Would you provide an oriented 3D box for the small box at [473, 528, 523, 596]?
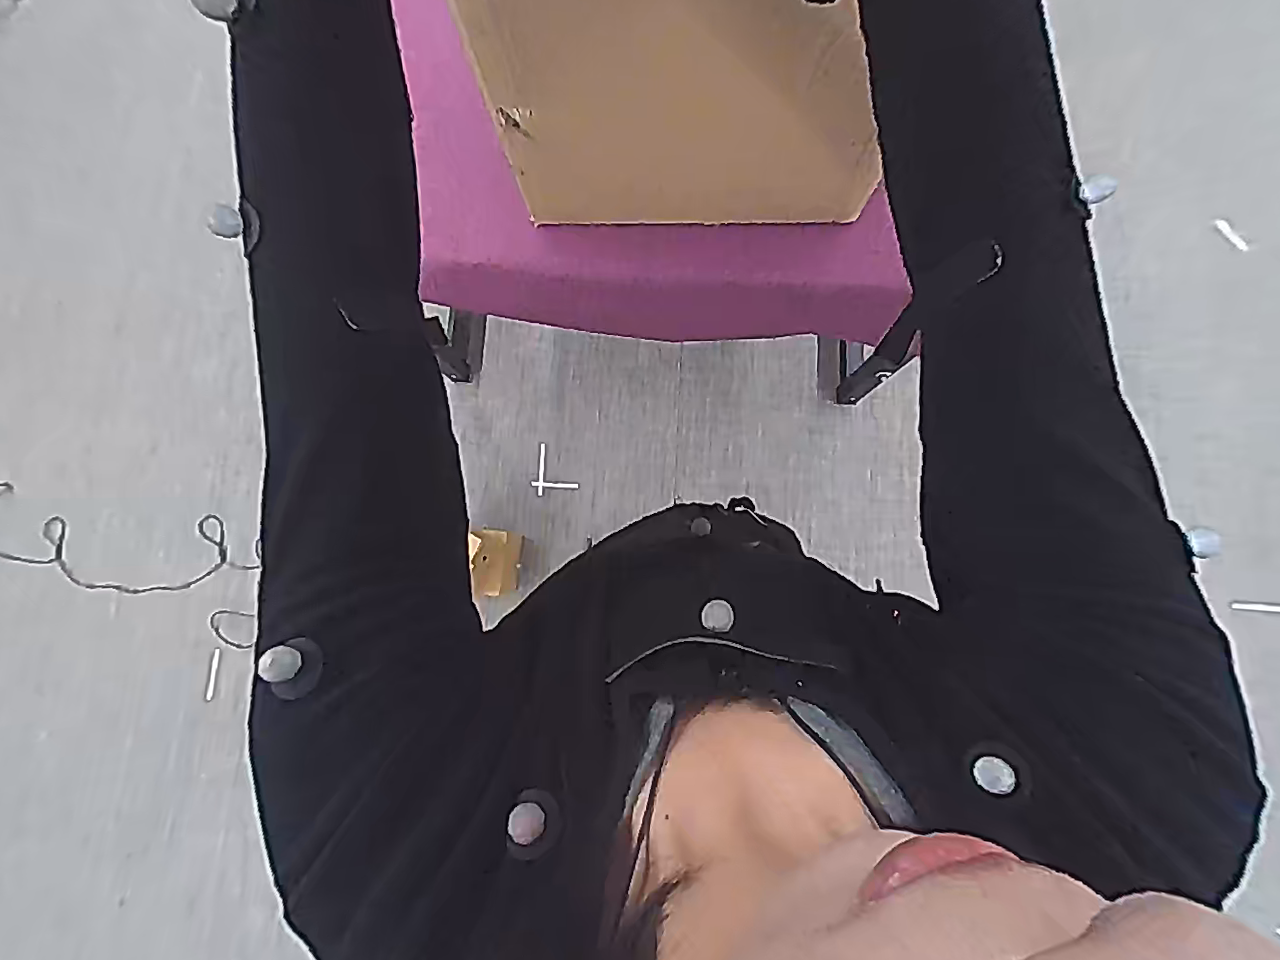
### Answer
[{"bbox_3d":[-0.428,0.216,1.446,0.179,0.176,0.168,6,82,2],"label":"small box"}]

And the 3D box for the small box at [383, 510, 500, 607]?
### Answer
[{"bbox_3d":[-0.460,0.184,1.287,0.179,0.176,0.168,25,82,6],"label":"small box"}]
